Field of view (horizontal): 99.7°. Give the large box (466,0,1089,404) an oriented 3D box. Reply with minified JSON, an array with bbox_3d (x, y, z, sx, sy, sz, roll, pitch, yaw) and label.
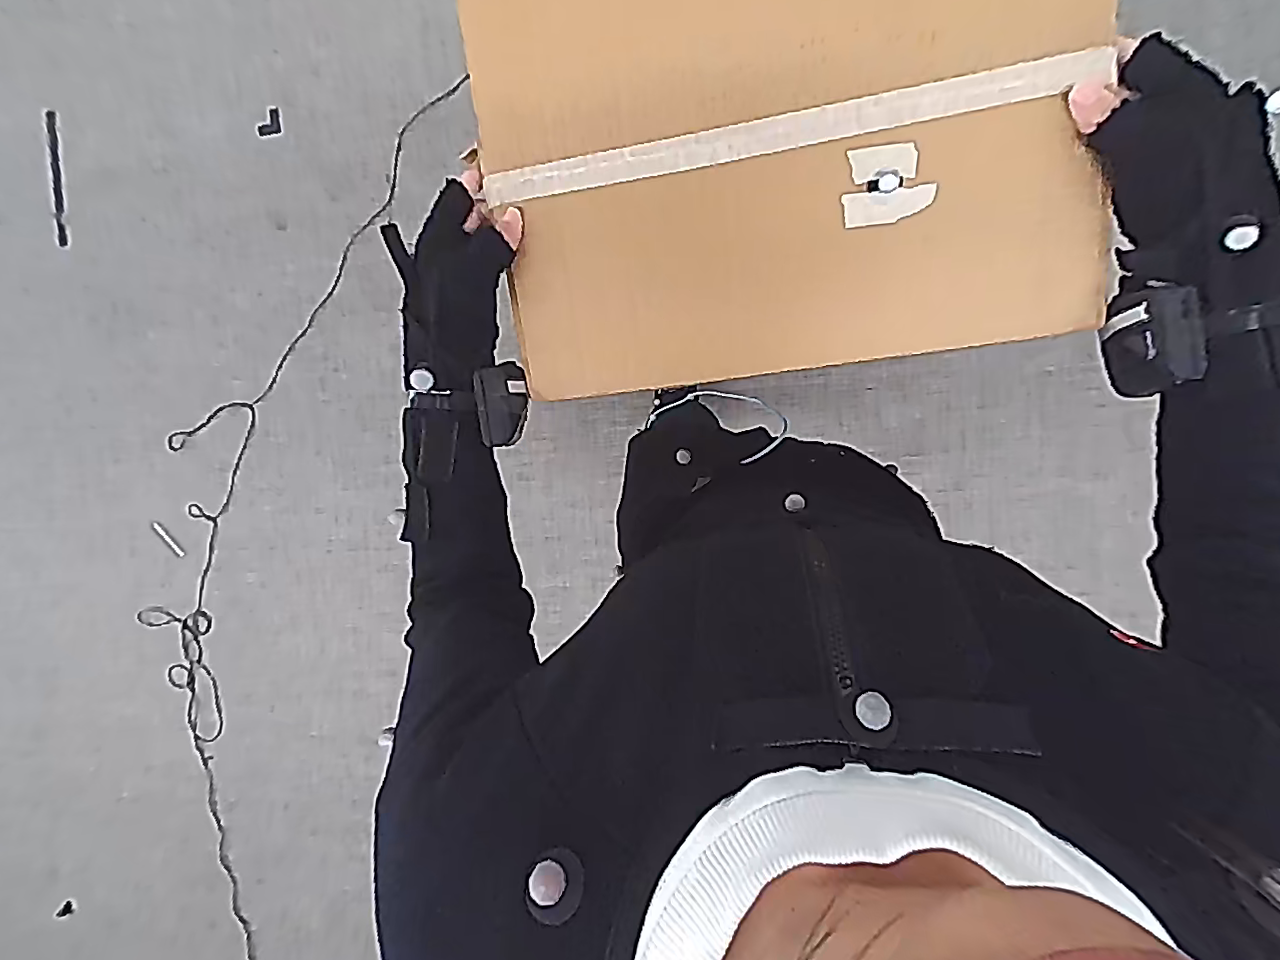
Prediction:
[{"bbox_3d":[0.108,-0.266,0.522,0.408,0.320,0.320,-7,102,8],"label":"large box"}]
